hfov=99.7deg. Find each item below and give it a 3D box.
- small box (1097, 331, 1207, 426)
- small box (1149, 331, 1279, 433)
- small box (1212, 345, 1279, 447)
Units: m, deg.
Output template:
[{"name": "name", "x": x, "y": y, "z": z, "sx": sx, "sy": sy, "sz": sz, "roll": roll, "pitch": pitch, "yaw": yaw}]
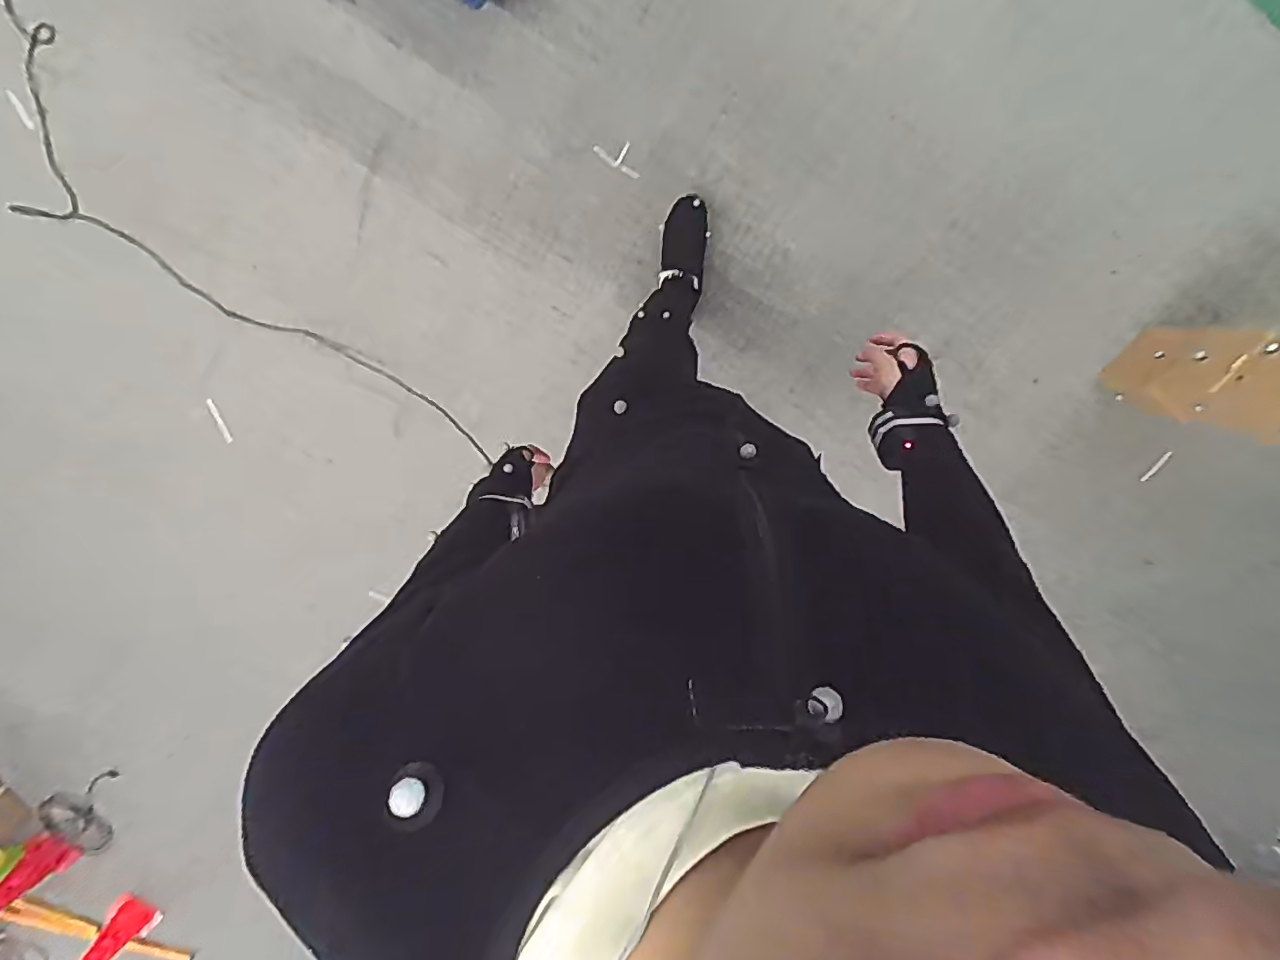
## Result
[{"name": "small box", "x": 1.365, "y": -0.271, "z": 1.406, "sx": 0.168, "sy": 0.176, "sz": 0.179, "roll": 35, "pitch": 106, "yaw": -8}, {"name": "small box", "x": 1.357, "y": -0.226, "z": 1.249, "sx": 0.179, "sy": 0.176, "sz": 0.168, "roll": 35, "pitch": 106, "yaw": -7}, {"name": "small box", "x": 1.351, "y": -0.164, "z": 1.096, "sx": 0.179, "sy": 0.176, "sz": 0.168, "roll": 34, "pitch": 106, "yaw": -8}]
